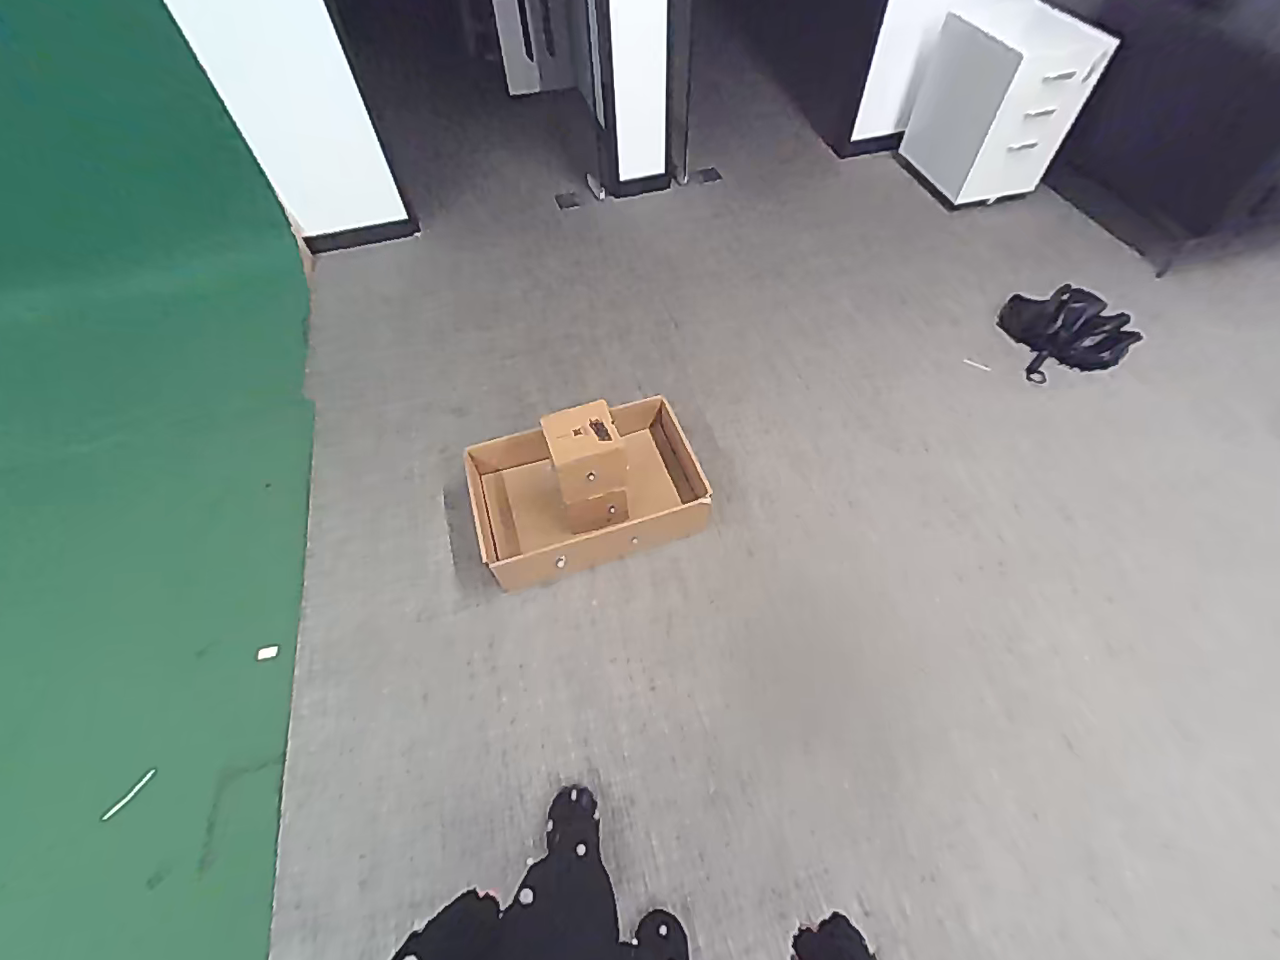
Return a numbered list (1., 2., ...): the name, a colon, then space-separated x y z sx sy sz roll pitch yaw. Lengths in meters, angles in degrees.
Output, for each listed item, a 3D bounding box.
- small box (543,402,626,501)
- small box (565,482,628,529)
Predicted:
1. small box: -0.139 -0.070 1.394 0.179 0.176 0.168 -16 57 -9
2. small box: -0.135 0.022 1.529 0.168 0.176 0.179 -14 55 -9
